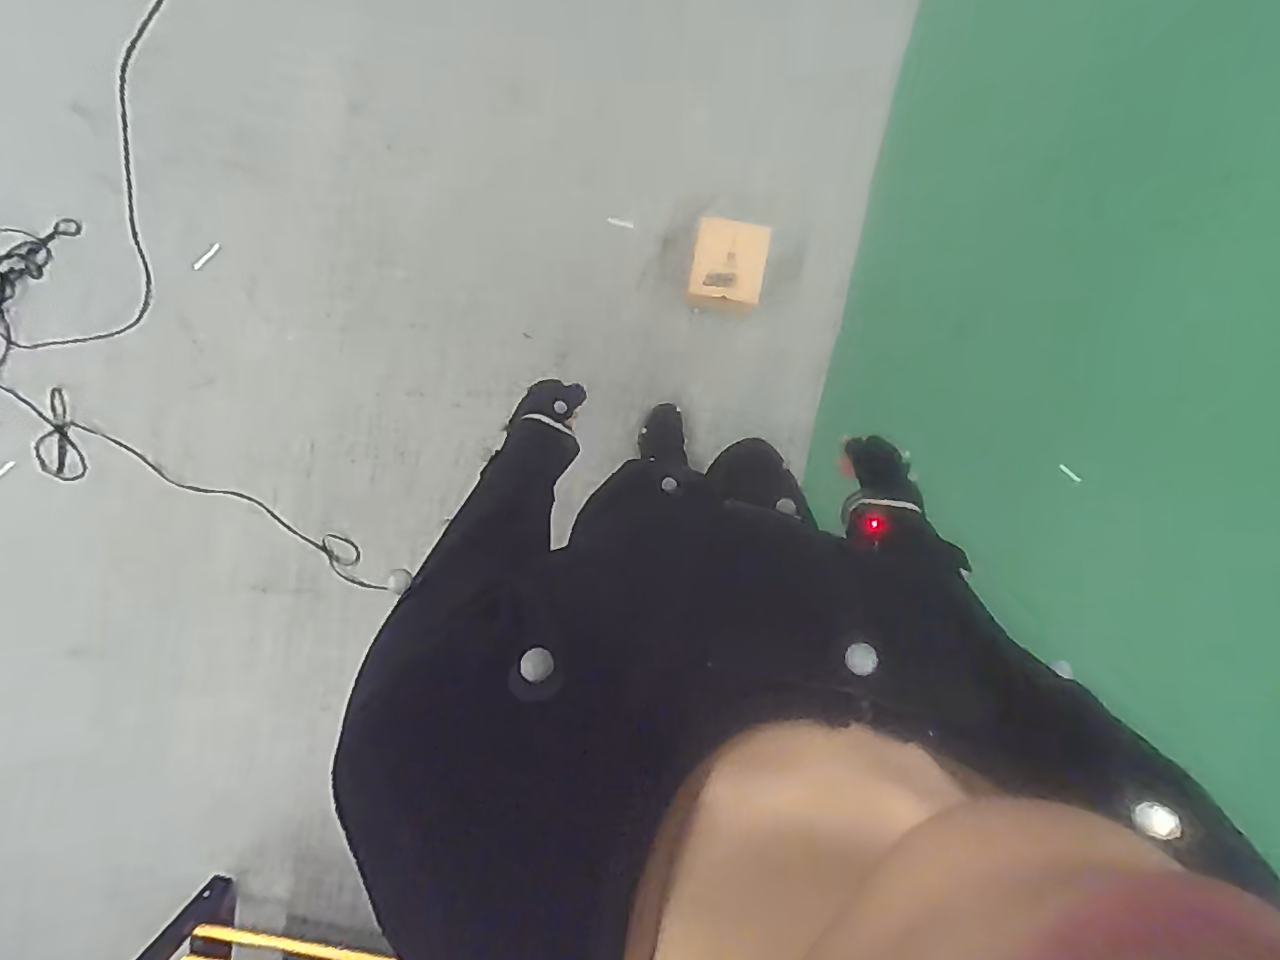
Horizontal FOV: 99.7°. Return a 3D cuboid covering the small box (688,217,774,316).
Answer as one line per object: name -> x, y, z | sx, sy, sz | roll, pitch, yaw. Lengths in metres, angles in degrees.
small box -> 0.212, -0.506, 1.310 | 0.168, 0.176, 0.179 | 10, 97, 0
